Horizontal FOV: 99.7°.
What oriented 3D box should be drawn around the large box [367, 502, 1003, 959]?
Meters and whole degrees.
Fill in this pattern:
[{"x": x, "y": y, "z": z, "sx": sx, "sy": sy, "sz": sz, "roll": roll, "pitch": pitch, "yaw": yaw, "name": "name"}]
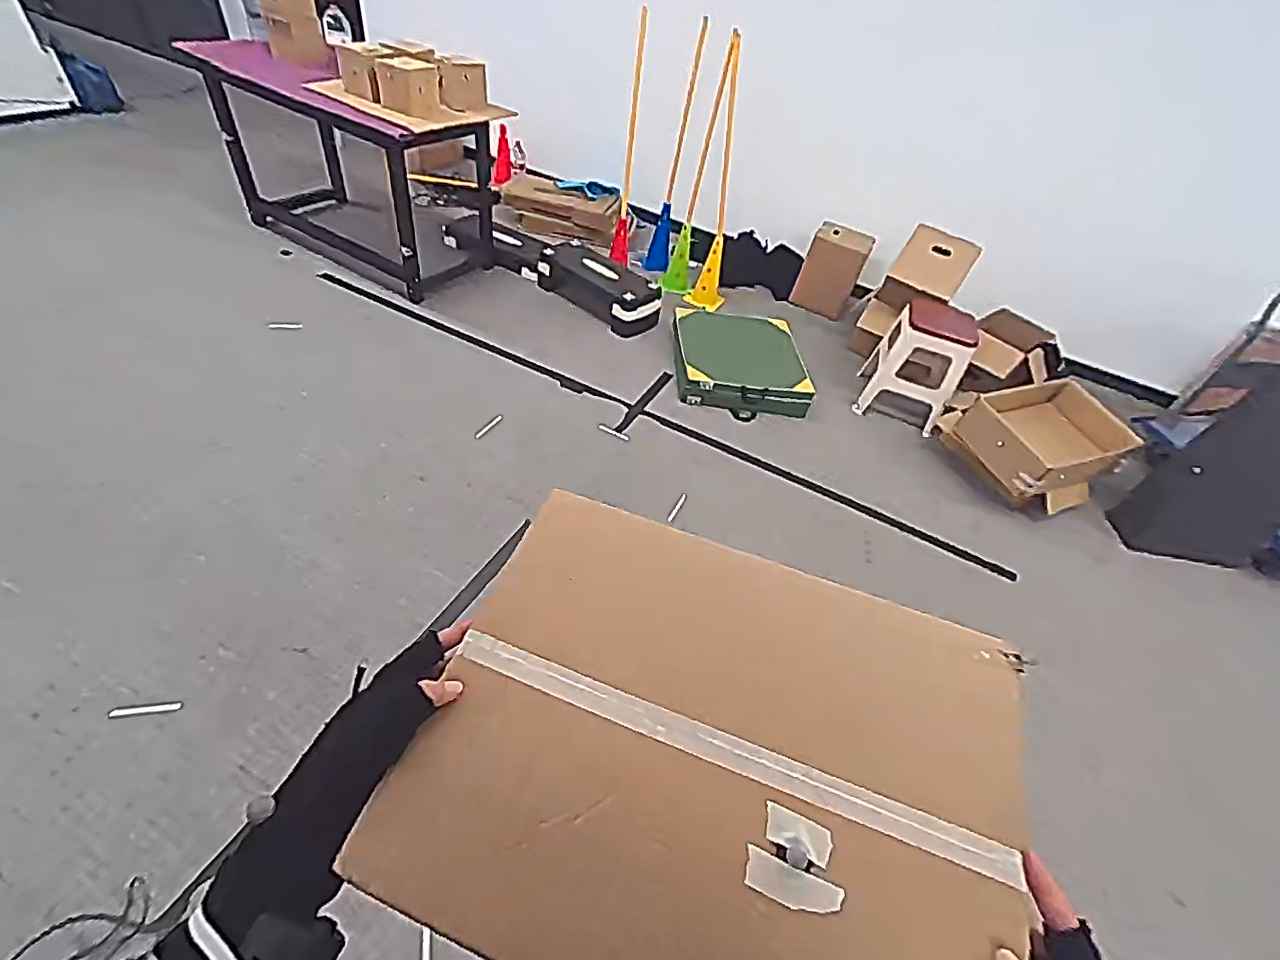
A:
[{"x": 0.051, "y": 0.278, "z": 0.520, "sx": 0.408, "sy": 0.320, "sz": 0.320, "roll": 18, "pitch": 57, "yaw": 11, "name": "large box"}]
